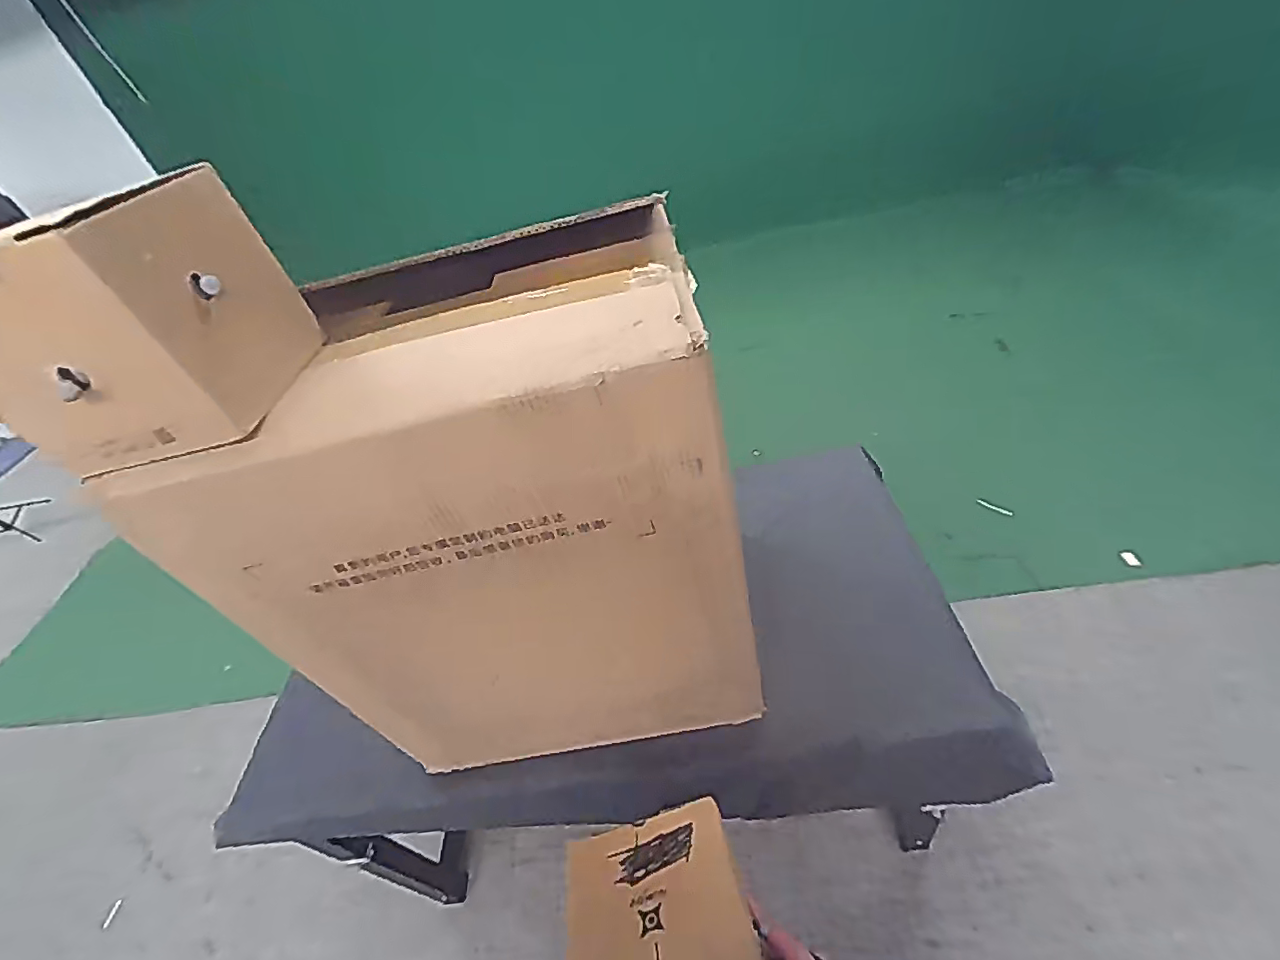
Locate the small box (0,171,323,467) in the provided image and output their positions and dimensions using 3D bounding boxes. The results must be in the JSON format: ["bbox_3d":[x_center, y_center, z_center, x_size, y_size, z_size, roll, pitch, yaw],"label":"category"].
[{"bbox_3d":[-0.412,-0.128,0.456,0.168,0.176,0.179,-12,42,7],"label":"small box"}]
